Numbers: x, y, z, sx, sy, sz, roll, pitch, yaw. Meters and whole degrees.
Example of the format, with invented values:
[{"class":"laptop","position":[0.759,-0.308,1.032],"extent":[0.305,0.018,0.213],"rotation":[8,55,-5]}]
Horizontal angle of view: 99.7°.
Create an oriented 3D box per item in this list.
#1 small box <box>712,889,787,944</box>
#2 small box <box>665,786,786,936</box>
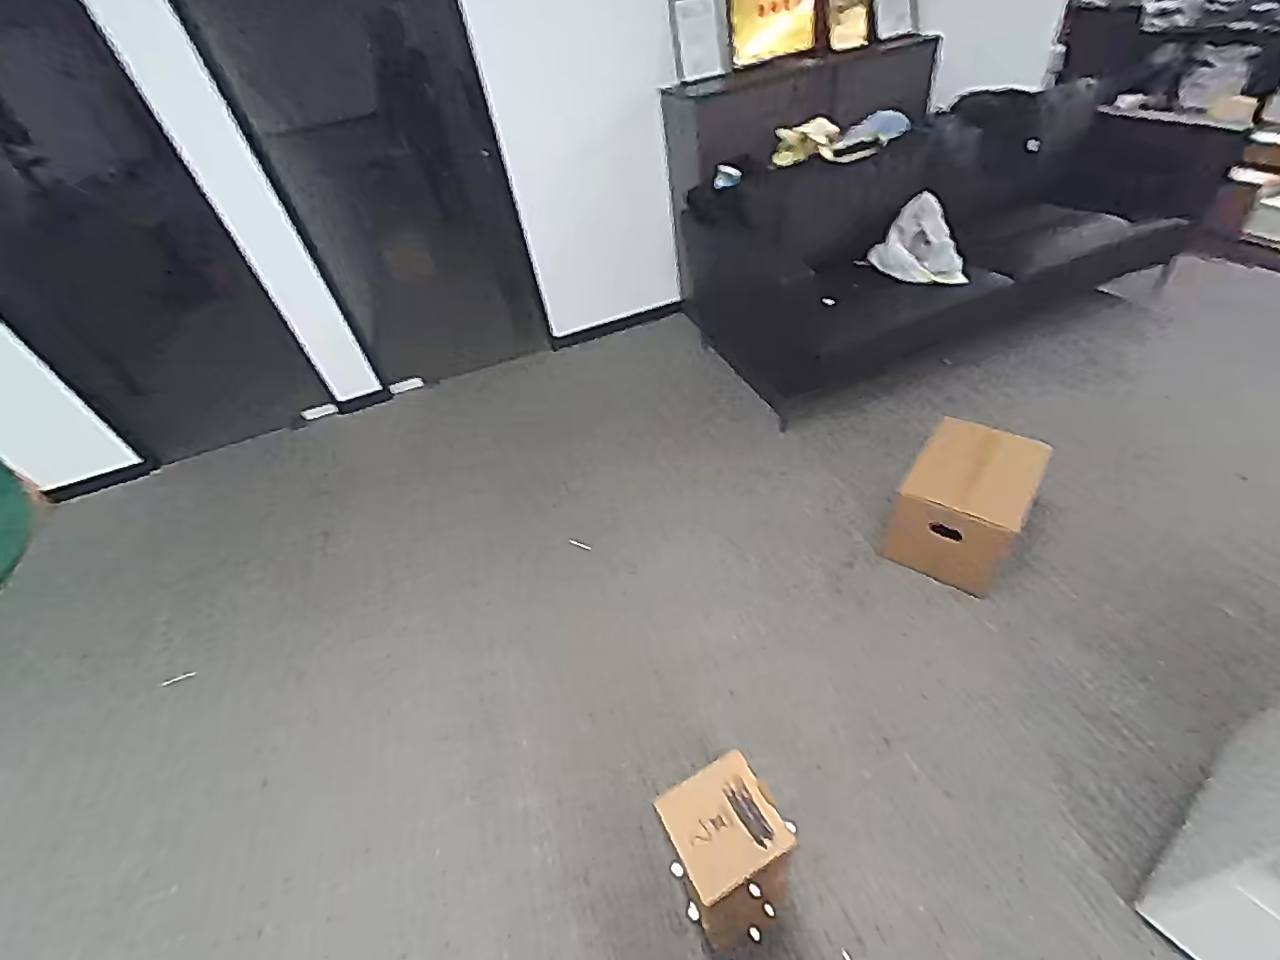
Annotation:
[{"class":"small box","position":[0.198,0.859,1.163],"extent":[0.168,0.176,0.179],"rotation":[-20,43,-10]},{"class":"small box","position":[0.166,0.745,1.051],"extent":[0.168,0.176,0.179],"rotation":[-21,42,-13]}]
